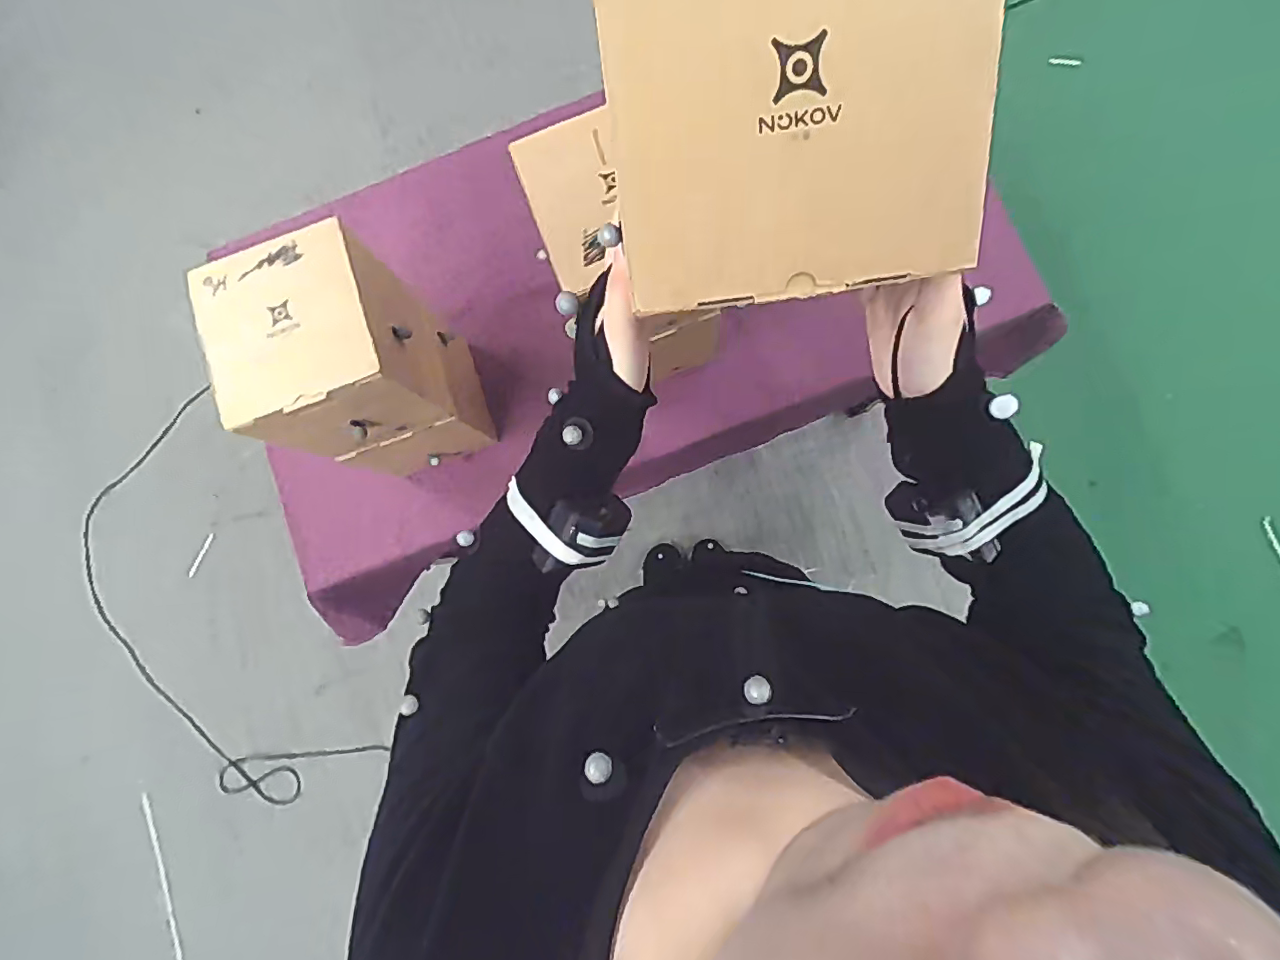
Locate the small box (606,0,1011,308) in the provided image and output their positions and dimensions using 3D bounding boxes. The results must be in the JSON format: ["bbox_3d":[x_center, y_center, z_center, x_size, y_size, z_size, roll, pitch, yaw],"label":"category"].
[{"bbox_3d":[0.071,-0.202,0.302,0.168,0.176,0.179,-6,113,5],"label":"small box"}]

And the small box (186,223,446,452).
[{"bbox_3d":[-0.342,-0.139,0.604,0.168,0.176,0.179,-20,83,1],"label":"small box"}]

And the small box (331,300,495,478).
[{"bbox_3d":[-0.329,-0.117,0.767,0.168,0.176,0.179,-20,82,2],"label":"small box"}]

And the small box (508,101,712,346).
[{"bbox_3d":[-0.019,-0.267,0.596,0.168,0.176,0.179,-21,80,2],"label":"small box"}]
